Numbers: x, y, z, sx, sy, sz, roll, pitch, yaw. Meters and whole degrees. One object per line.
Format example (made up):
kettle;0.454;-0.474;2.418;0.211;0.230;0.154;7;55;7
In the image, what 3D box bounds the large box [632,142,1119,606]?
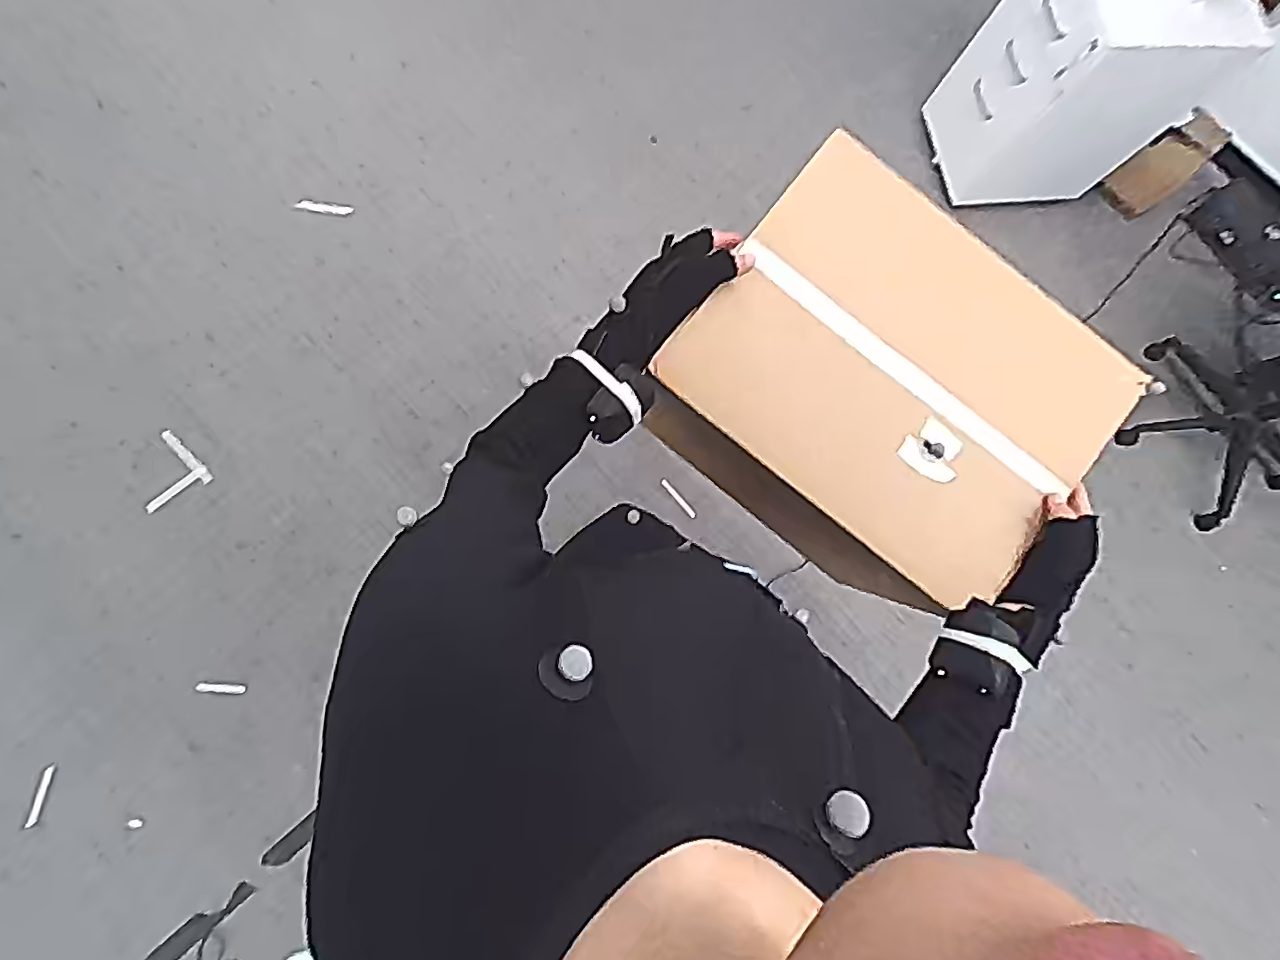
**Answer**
large box;0.242;-0.105;0.694;0.408;0.320;0.320;39;87;-2
